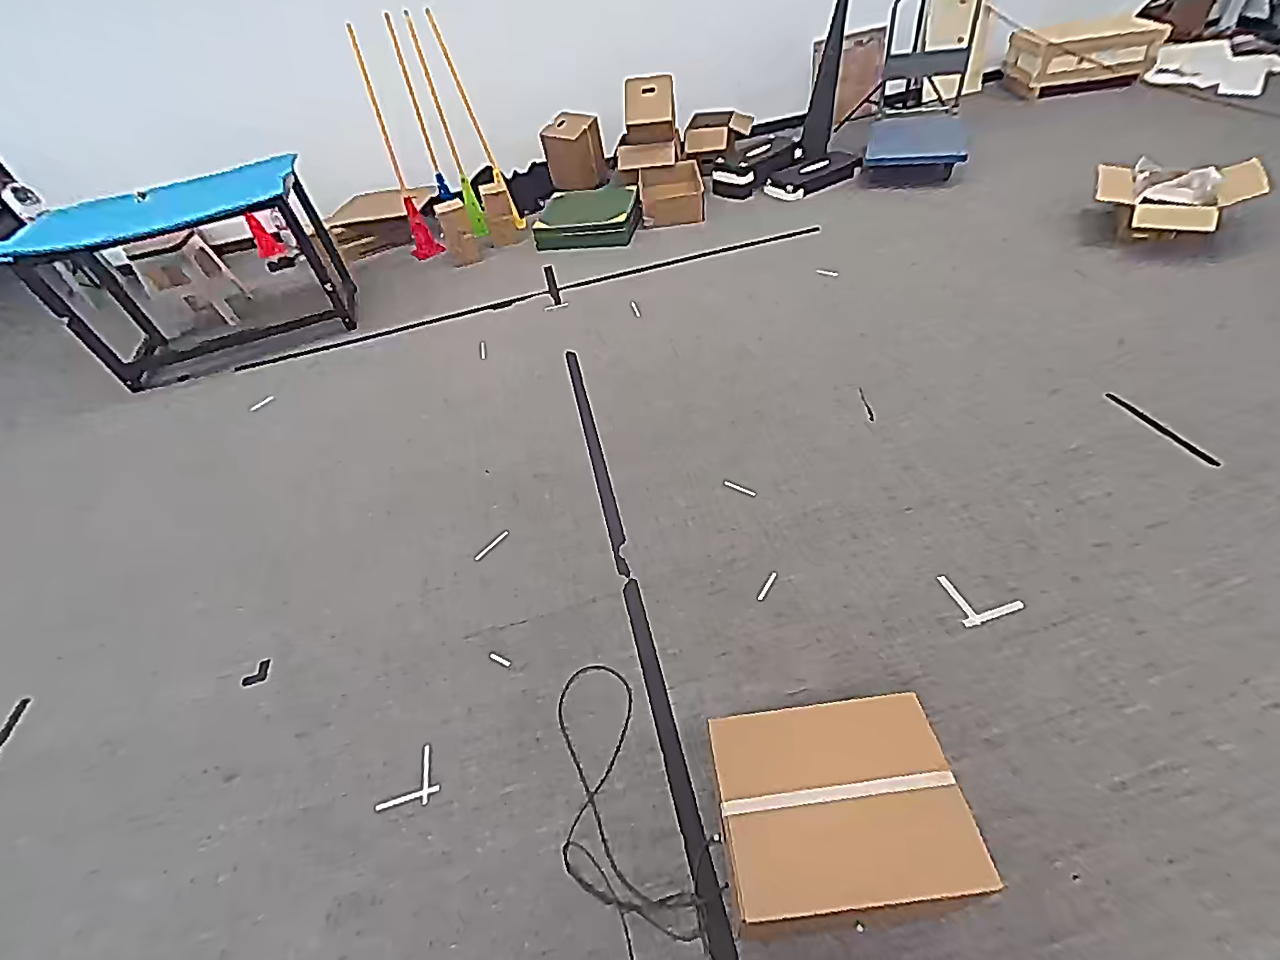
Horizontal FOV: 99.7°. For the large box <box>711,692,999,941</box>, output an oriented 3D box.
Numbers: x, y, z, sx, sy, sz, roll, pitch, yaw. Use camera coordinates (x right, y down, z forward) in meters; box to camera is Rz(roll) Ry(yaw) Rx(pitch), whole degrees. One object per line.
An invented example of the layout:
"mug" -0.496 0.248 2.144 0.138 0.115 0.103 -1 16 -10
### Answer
"large box" 0.366 0.653 1.049 0.408 0.320 0.320 -9 46 1
